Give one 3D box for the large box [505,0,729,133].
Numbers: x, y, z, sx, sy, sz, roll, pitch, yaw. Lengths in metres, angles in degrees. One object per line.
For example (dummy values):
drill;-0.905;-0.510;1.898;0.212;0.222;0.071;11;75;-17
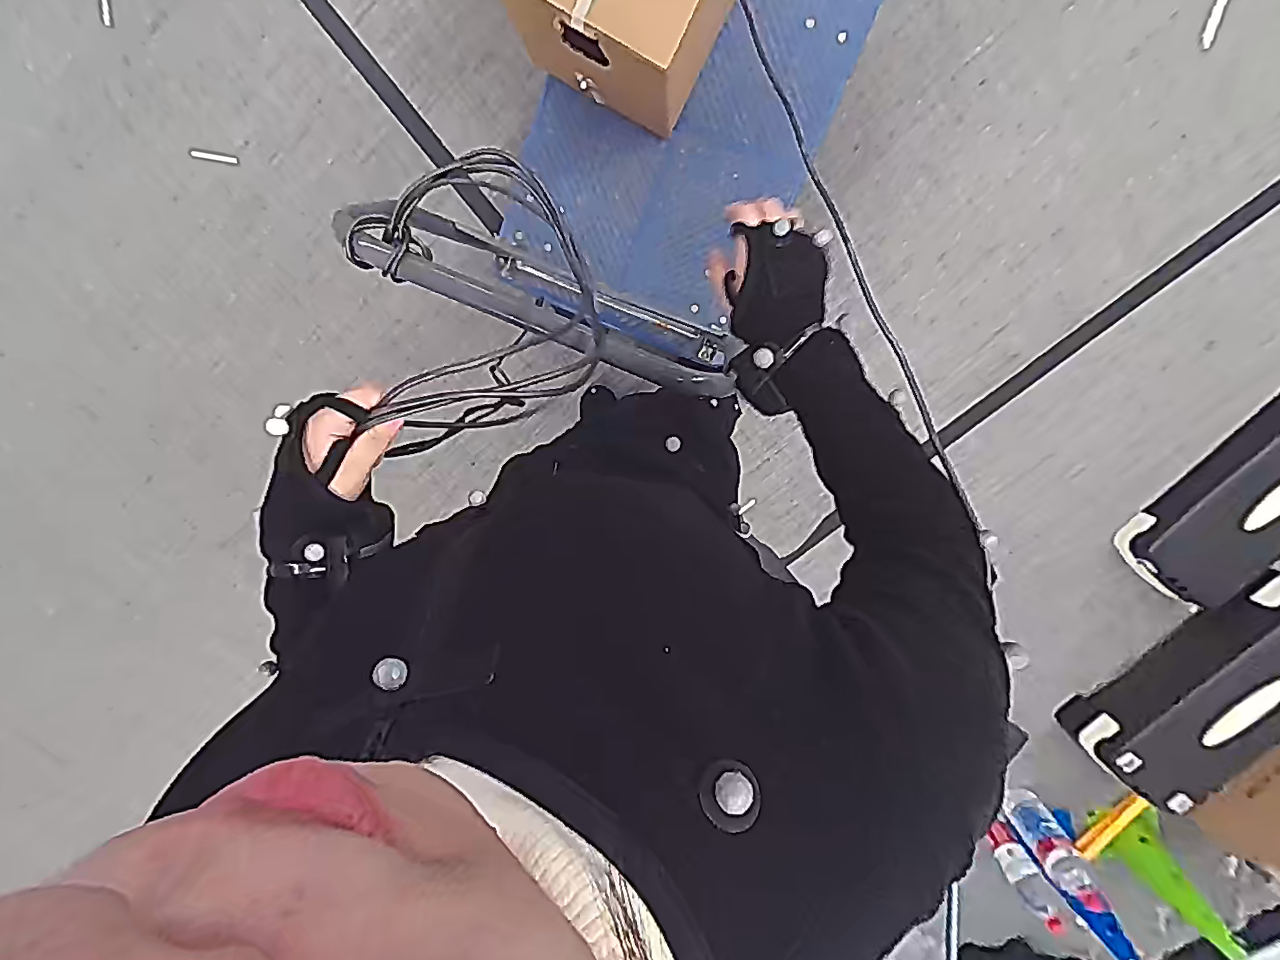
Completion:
large box;0.001;-0.912;0.919;0.320;0.320;0.408;27;104;-5
